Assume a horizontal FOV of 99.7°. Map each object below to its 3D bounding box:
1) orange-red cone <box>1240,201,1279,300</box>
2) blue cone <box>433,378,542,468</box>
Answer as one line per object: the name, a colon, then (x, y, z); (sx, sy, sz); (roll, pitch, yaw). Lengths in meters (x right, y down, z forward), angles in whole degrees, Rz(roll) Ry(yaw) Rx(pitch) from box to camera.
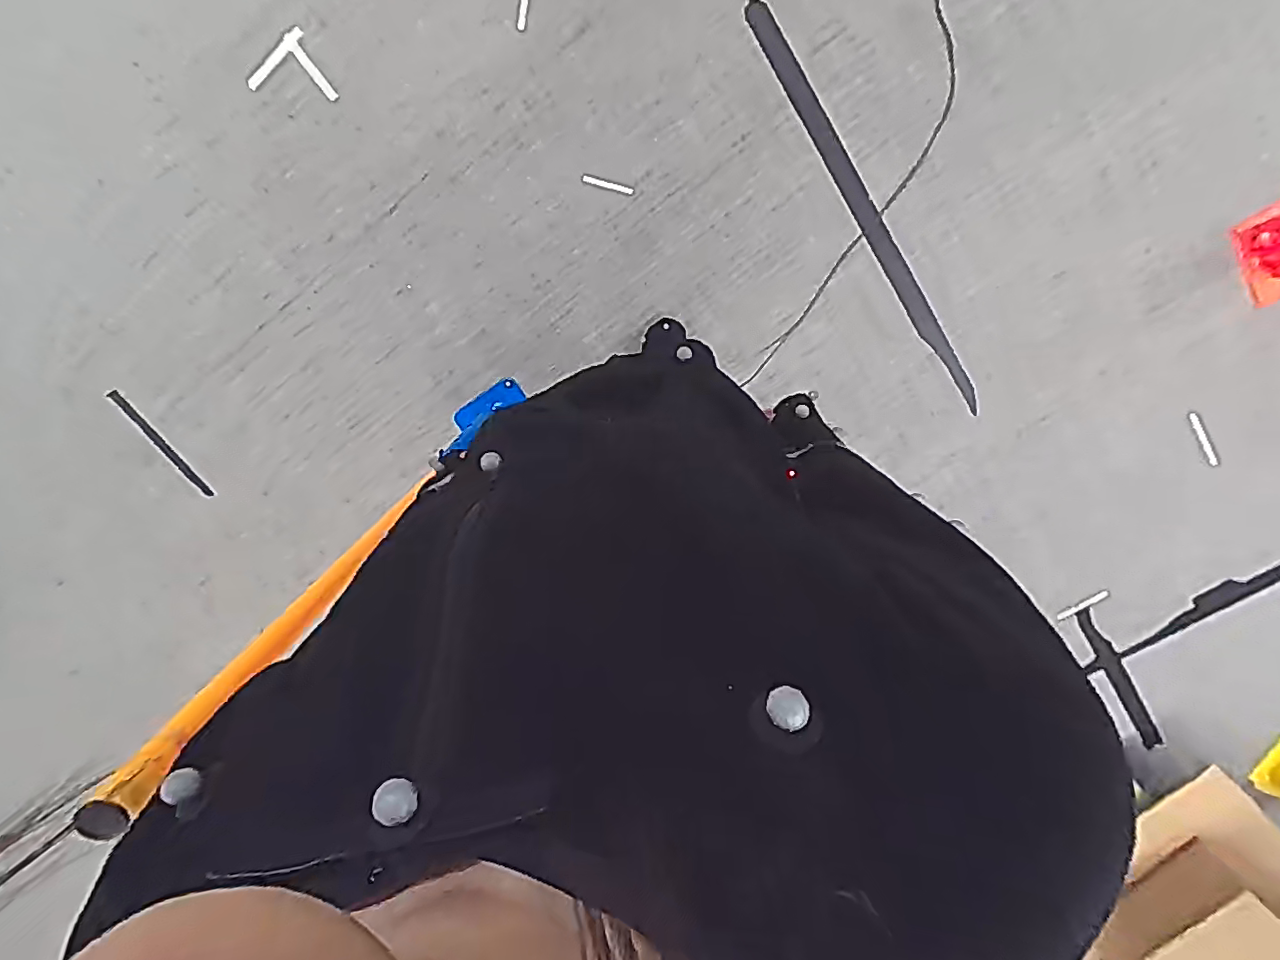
orange-red cone: (1.413, -0.472, 1.006); (0.198, 0.360, 0.199); (-30, 103, 12)
blue cone: (-0.378, -0.099, 1.253); (0.193, 0.380, 0.192); (-30, 102, 11)
